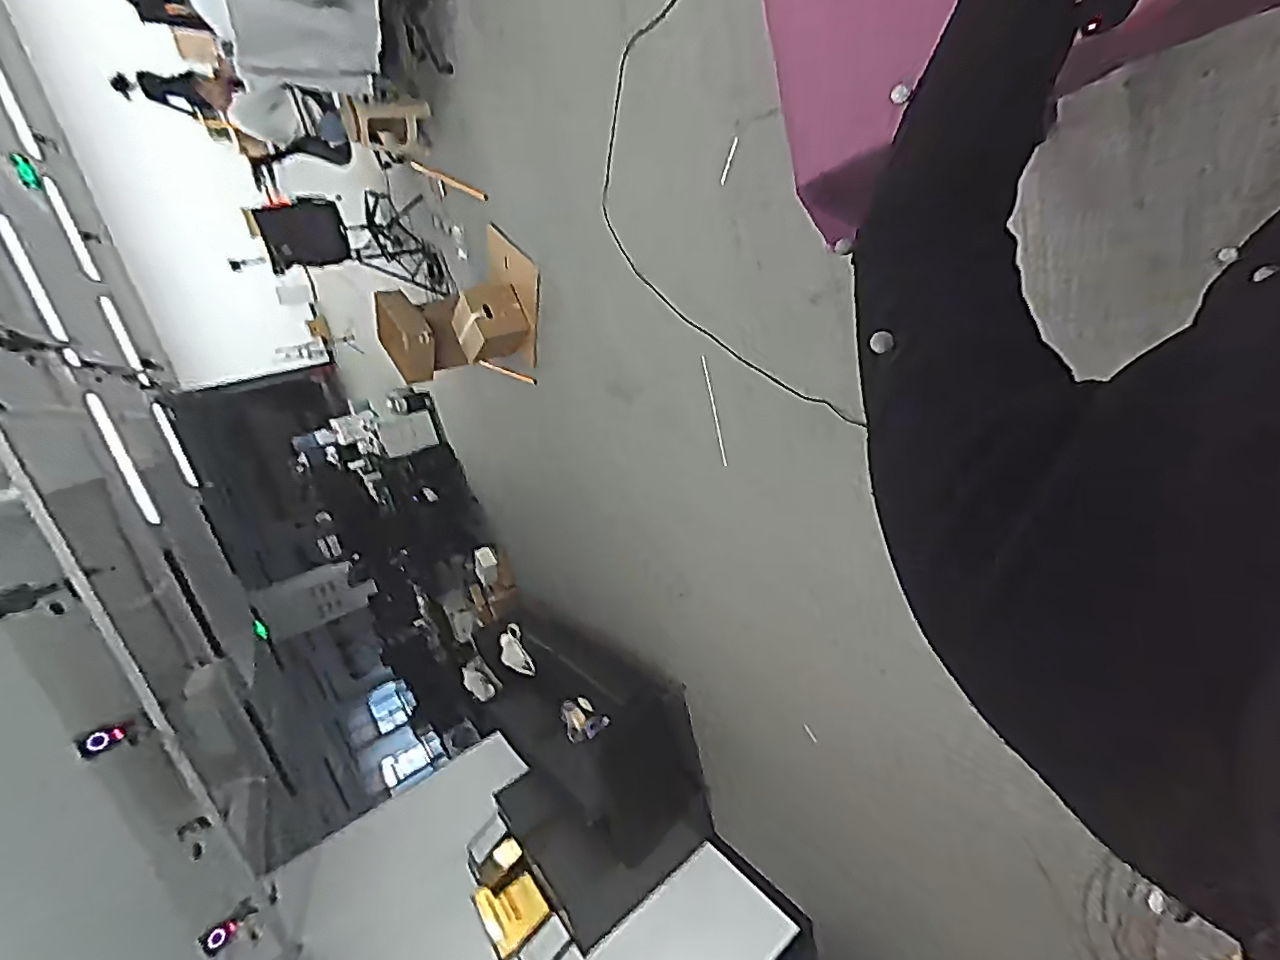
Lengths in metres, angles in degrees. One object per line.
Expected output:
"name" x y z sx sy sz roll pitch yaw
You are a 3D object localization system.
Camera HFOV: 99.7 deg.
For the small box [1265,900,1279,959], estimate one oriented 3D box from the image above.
"small box" 1.486 1.014 1.152 0.179 0.176 0.168 11 119 54
